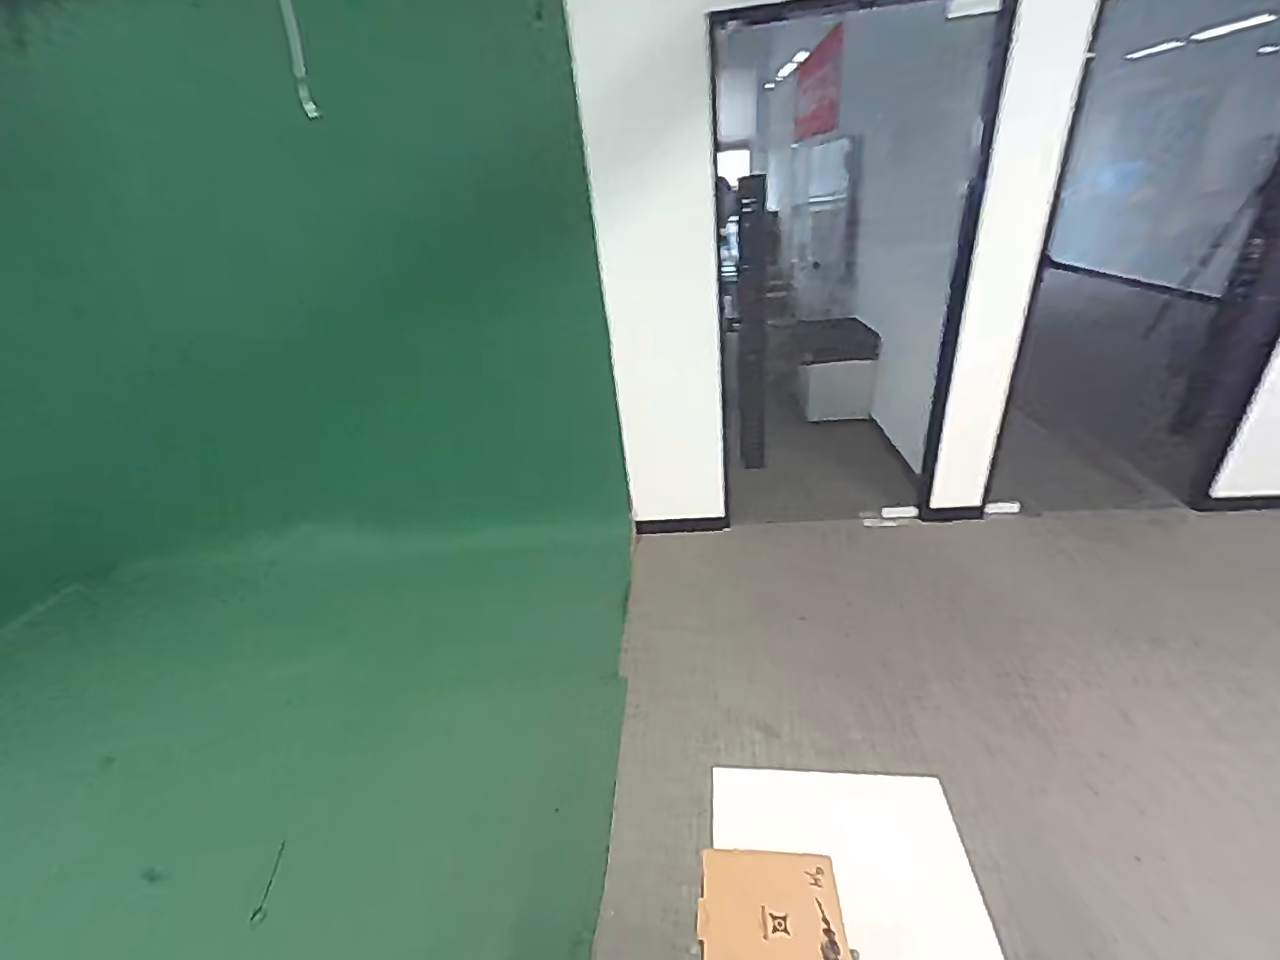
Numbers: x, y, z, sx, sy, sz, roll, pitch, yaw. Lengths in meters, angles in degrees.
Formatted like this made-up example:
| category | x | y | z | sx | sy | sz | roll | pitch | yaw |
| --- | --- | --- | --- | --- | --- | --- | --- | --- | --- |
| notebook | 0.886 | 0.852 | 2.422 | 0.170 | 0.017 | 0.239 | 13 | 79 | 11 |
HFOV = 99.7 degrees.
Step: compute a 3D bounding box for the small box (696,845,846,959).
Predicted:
| category | x | y | z | sx | sy | sz | roll | pitch | yaw |
| --- | --- | --- | --- | --- | --- | --- | --- | --- | --- |
| small box | 0.165 | 0.614 | 0.707 | 0.179 | 0.176 | 0.168 | -1 | 29 | 8 |
